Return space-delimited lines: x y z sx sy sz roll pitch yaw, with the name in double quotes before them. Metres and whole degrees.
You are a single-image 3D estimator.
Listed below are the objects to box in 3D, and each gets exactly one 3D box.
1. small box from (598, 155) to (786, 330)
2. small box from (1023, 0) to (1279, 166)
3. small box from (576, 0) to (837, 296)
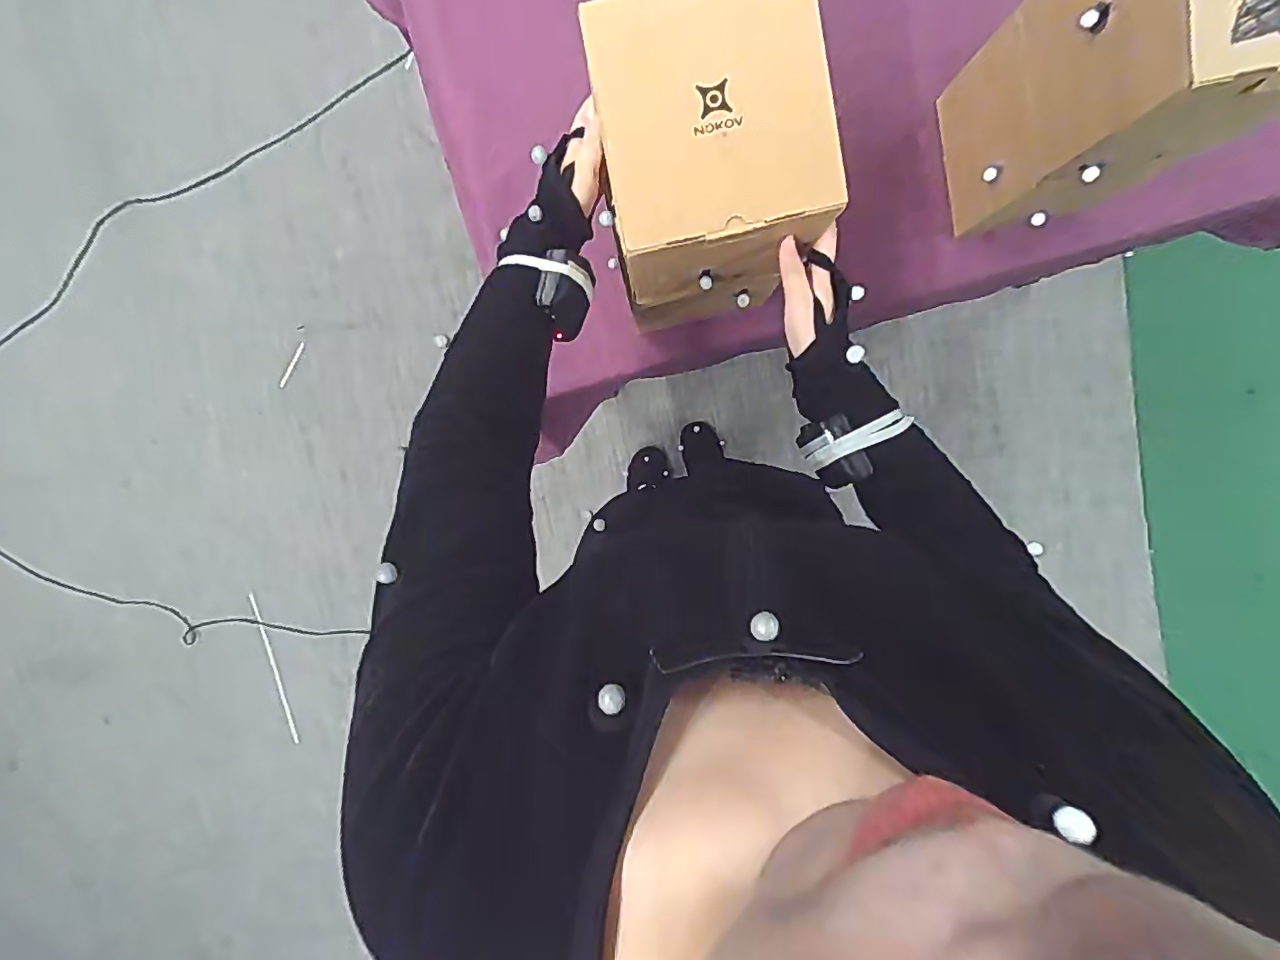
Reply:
"small box" 0.059 -0.290 0.648 0.179 0.176 0.168 -12 95 5
"small box" 0.453 -0.386 0.443 0.168 0.176 0.179 -9 96 5
"small box" 0.051 -0.277 0.466 0.168 0.176 0.179 -11 97 4
